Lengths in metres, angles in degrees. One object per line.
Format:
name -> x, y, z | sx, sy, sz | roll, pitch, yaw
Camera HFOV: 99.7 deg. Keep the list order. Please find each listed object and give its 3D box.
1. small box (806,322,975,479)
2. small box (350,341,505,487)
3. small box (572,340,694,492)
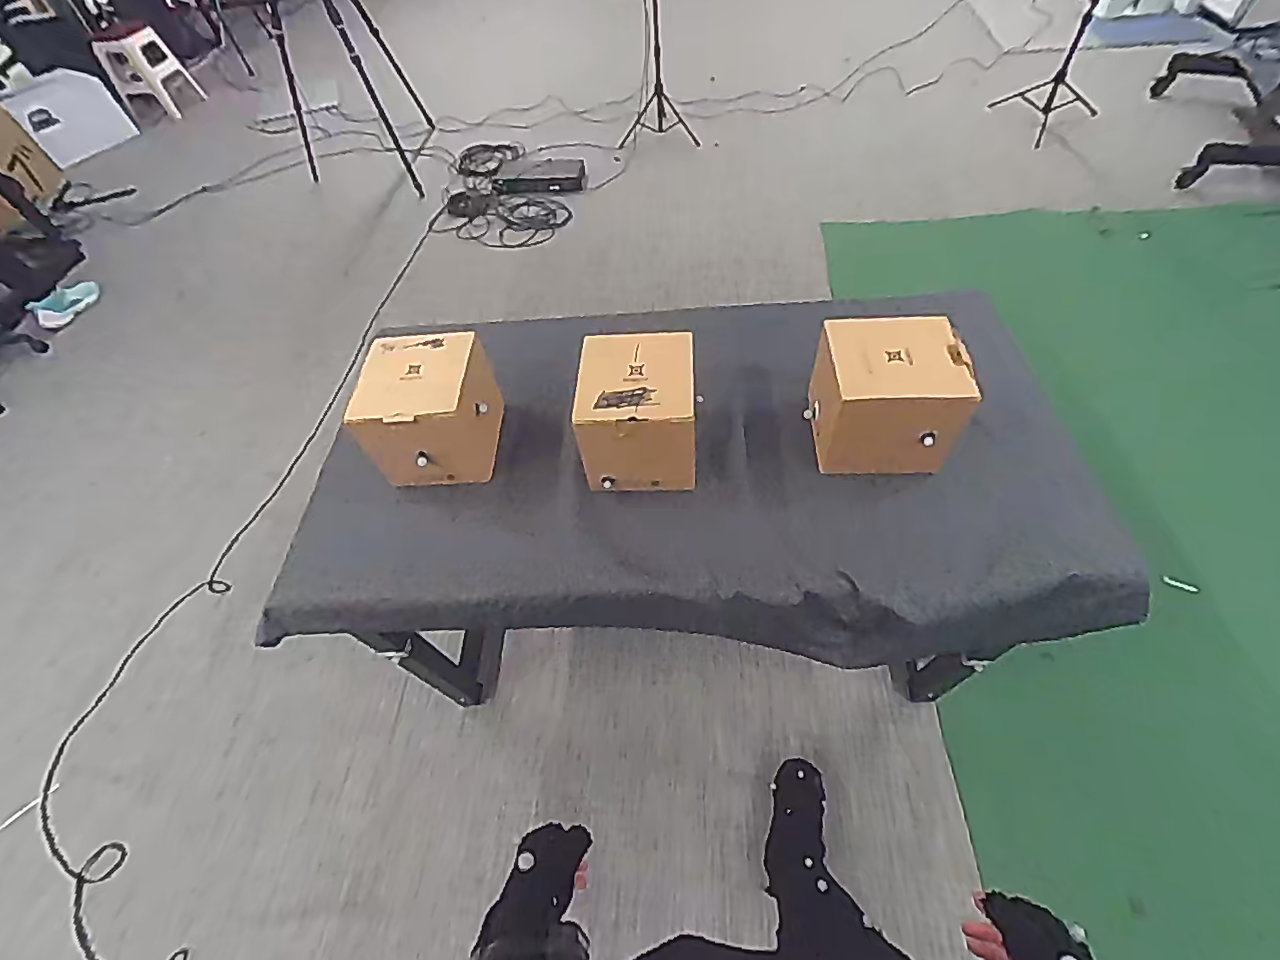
small box -> 0.359, -0.114, 0.815 | 0.179, 0.176, 0.168 | -2, 53, 7
small box -> -0.329, -0.098, 0.879 | 0.168, 0.176, 0.179 | -3, 55, 4
small box -> 0.000, -0.092, 0.838 | 0.168, 0.176, 0.179 | -1, 54, 6
